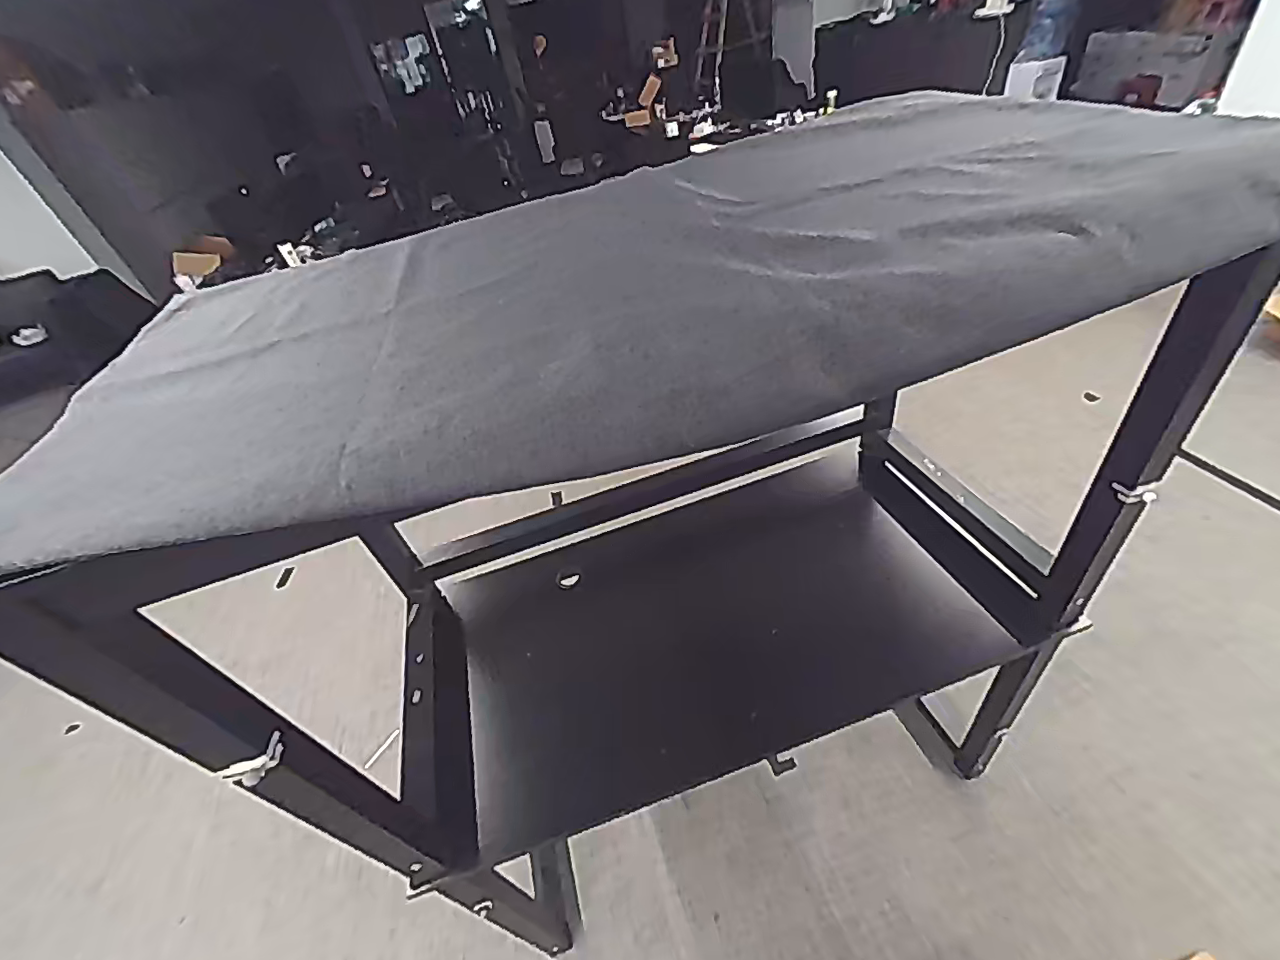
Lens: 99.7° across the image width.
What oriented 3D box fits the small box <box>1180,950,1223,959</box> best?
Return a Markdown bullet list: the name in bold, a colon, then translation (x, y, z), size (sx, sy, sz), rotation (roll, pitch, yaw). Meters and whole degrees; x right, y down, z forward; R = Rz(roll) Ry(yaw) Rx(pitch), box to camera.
- **small box**: translation (0.680, 0.722, 0.655), size (0.179, 0.176, 0.168), rotation (-22, 41, -9)
